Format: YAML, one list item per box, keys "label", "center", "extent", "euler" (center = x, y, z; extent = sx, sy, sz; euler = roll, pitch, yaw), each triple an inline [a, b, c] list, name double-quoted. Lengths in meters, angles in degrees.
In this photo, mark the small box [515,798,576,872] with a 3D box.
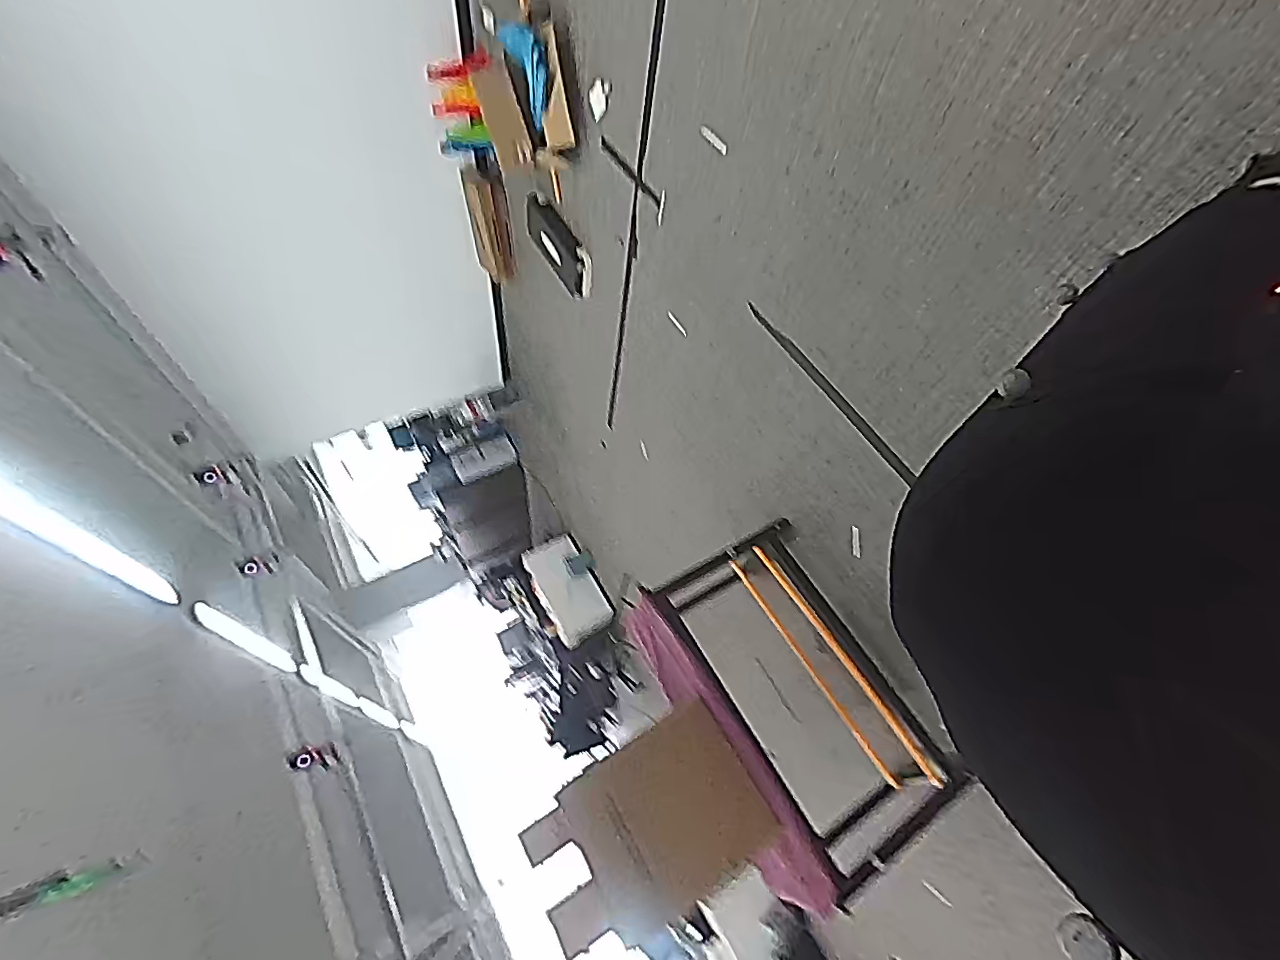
- label: "small box"
  center: [-0.347, 1.307, 2.000]
  extent: [0.168, 0.176, 0.179]
  euler: [55, 156, 22]
